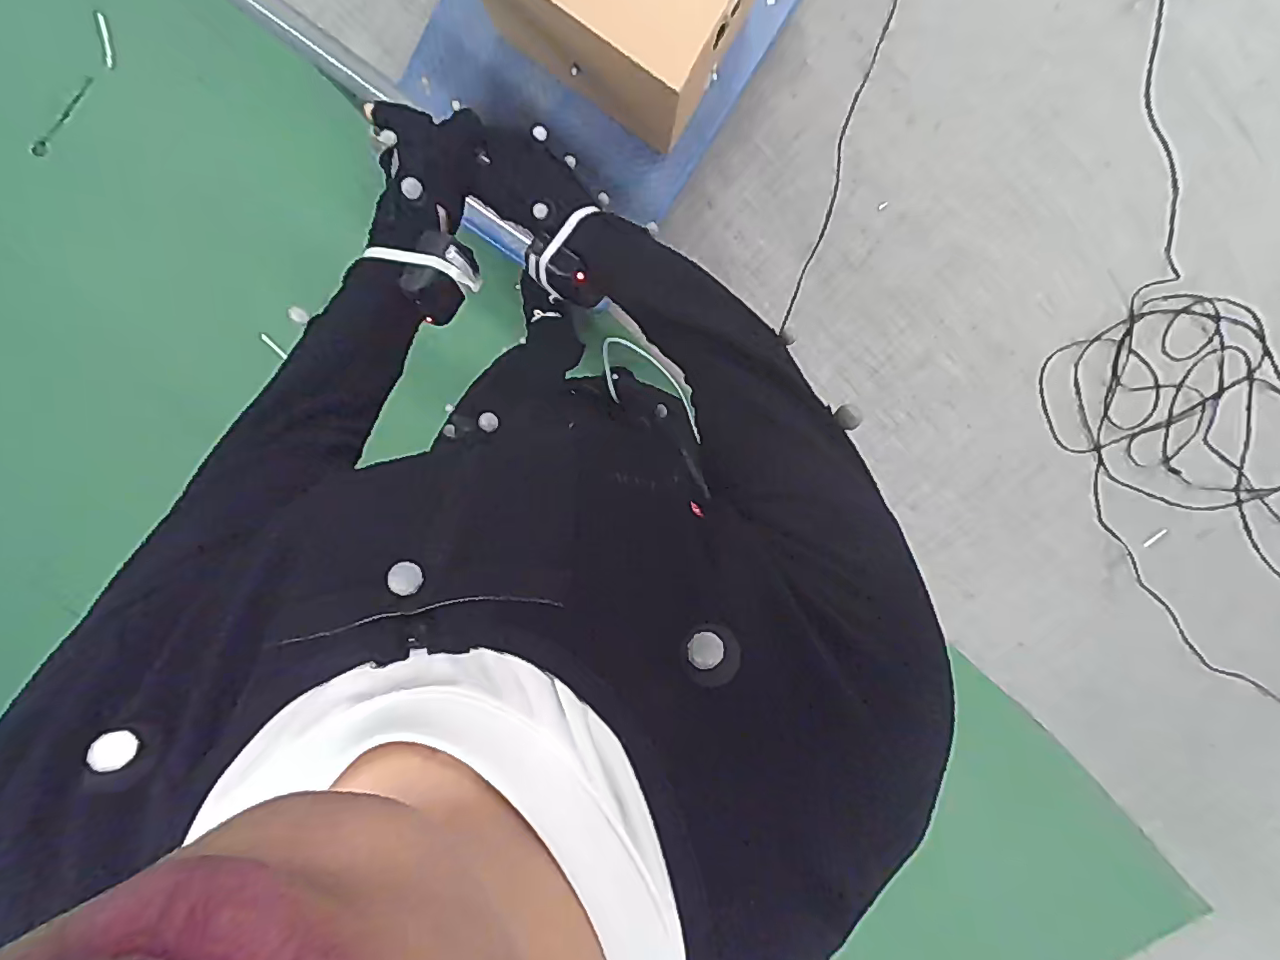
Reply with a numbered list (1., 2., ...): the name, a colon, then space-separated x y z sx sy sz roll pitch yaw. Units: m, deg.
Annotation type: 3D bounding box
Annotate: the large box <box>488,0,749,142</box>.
1. large box: -0.028 -0.869 0.909 0.408 0.320 0.320 30 103 -8
